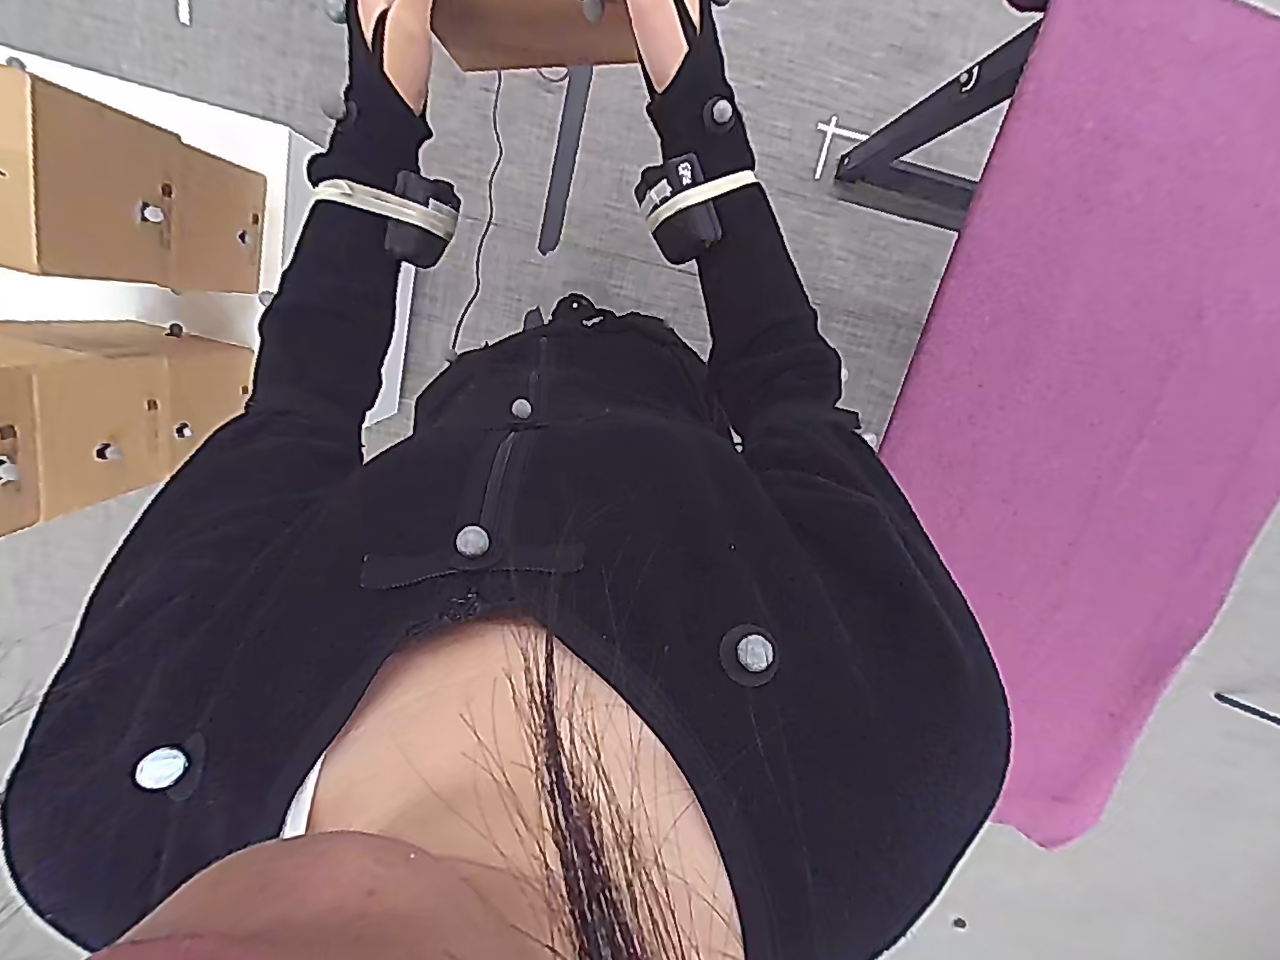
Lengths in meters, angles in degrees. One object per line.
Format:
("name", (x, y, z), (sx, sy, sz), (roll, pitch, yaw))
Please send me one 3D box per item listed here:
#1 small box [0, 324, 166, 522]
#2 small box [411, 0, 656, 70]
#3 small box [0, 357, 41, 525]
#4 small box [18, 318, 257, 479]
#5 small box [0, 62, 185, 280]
("small box", (-0.671, -0.073, 0.594), (0.179, 0.176, 0.168), (12, 106, -6))
("small box", (-0.075, -0.419, 0.379), (0.179, 0.176, 0.168), (-2, 107, 1))
("small box", (-0.665, -0.028, 0.438), (0.179, 0.176, 0.168), (11, 107, -6))
("small box", (-0.680, -0.119, 0.749), (0.179, 0.176, 0.168), (14, 106, -5))
("small box", (-0.601, -0.301, 0.526), (0.179, 0.176, 0.168), (14, 106, -8))
